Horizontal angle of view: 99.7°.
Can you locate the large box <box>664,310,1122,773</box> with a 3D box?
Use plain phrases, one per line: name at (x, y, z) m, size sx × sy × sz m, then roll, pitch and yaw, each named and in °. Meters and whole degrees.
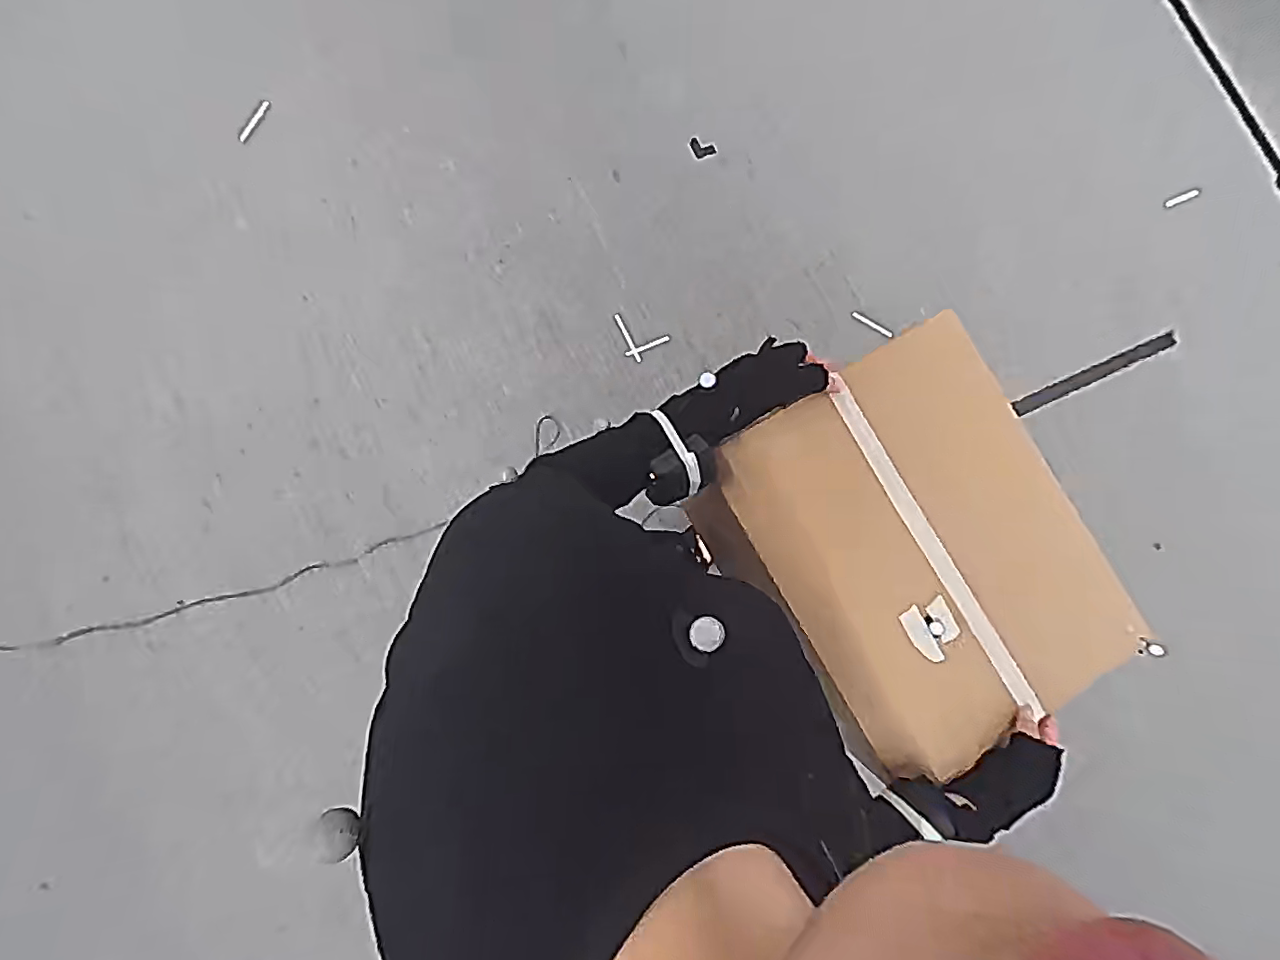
large box at (0.277, 0.066, 0.717) m, size 0.320 × 0.320 × 0.408 m, roll -31°, pitch 89°, yaw -5°
